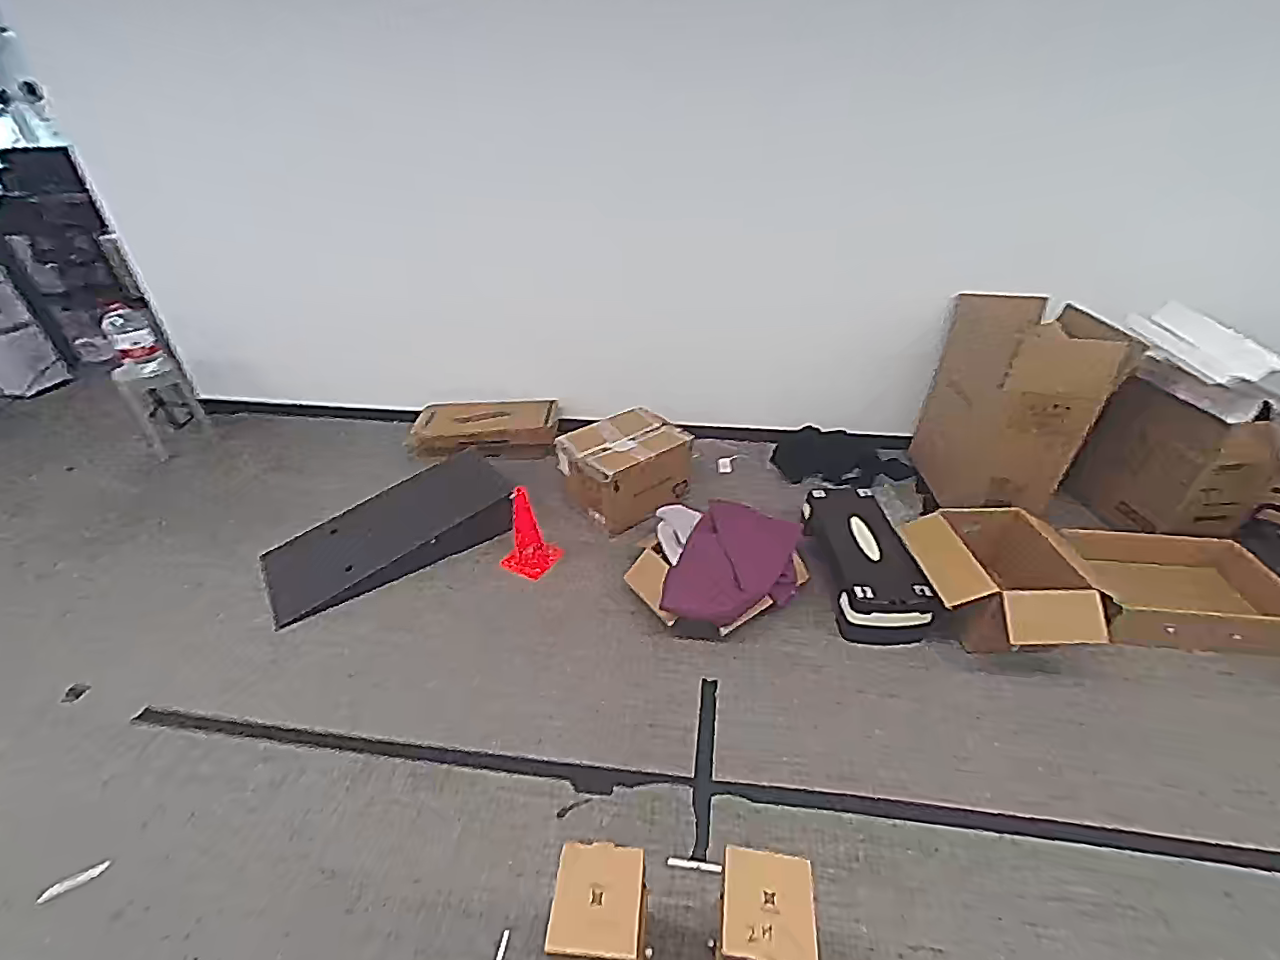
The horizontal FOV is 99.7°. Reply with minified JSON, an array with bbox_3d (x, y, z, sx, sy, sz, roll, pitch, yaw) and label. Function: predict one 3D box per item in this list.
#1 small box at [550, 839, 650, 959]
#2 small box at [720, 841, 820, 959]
[{"bbox_3d":[-0.069,0.842,1.061,0.168,0.176,0.179,0,36,5],"label":"small box"},{"bbox_3d":[0.244,0.843,1.044,0.168,0.176,0.179,4,35,9],"label":"small box"}]
